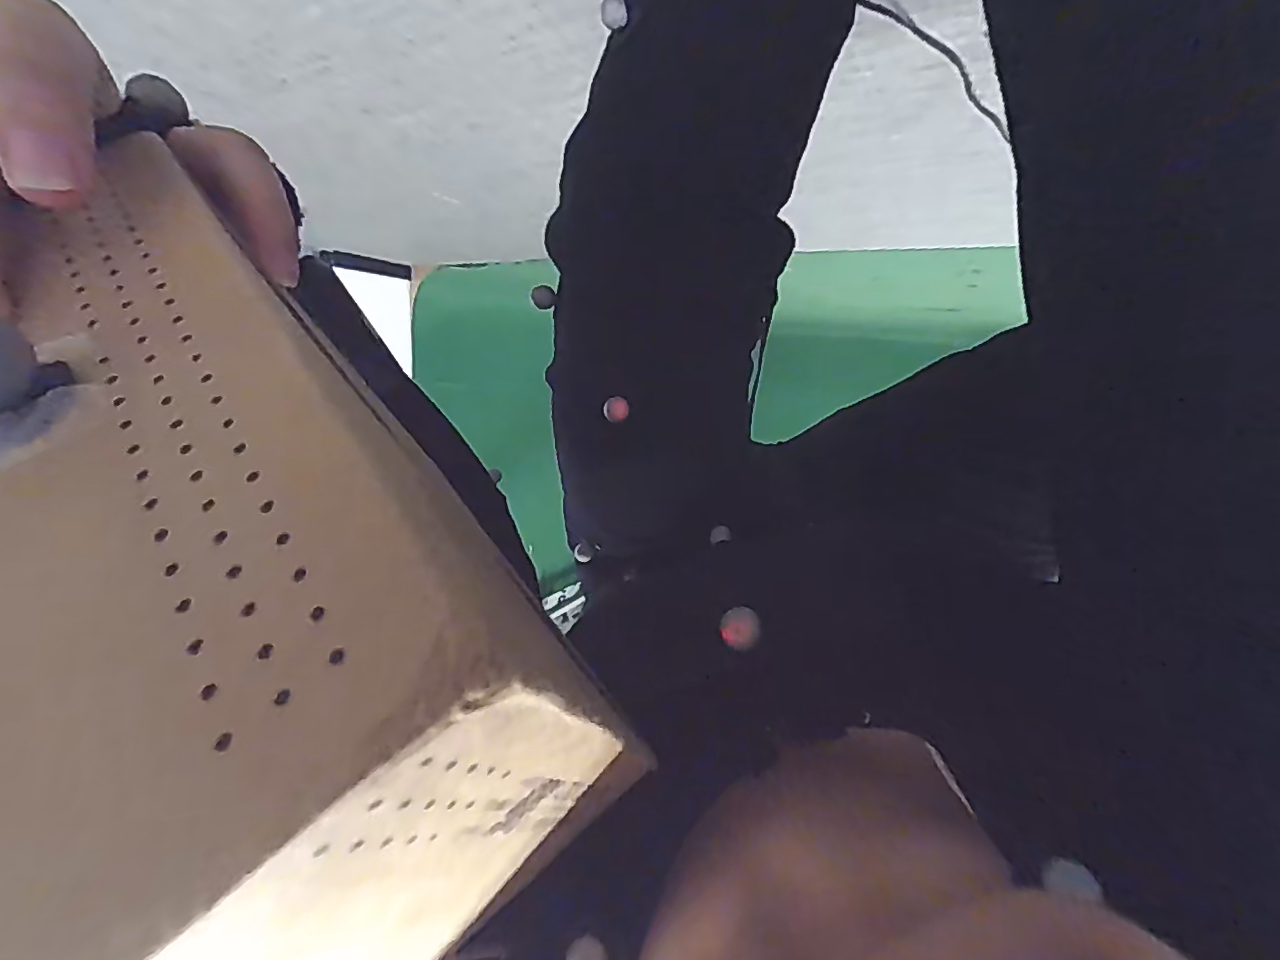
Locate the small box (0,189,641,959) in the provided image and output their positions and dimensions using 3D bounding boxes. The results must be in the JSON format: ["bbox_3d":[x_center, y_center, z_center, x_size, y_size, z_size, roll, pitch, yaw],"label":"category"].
[{"bbox_3d":[-0.122,0.052,0.153,0.176,0.168,0.179,-38,-119,-13],"label":"small box"}]
